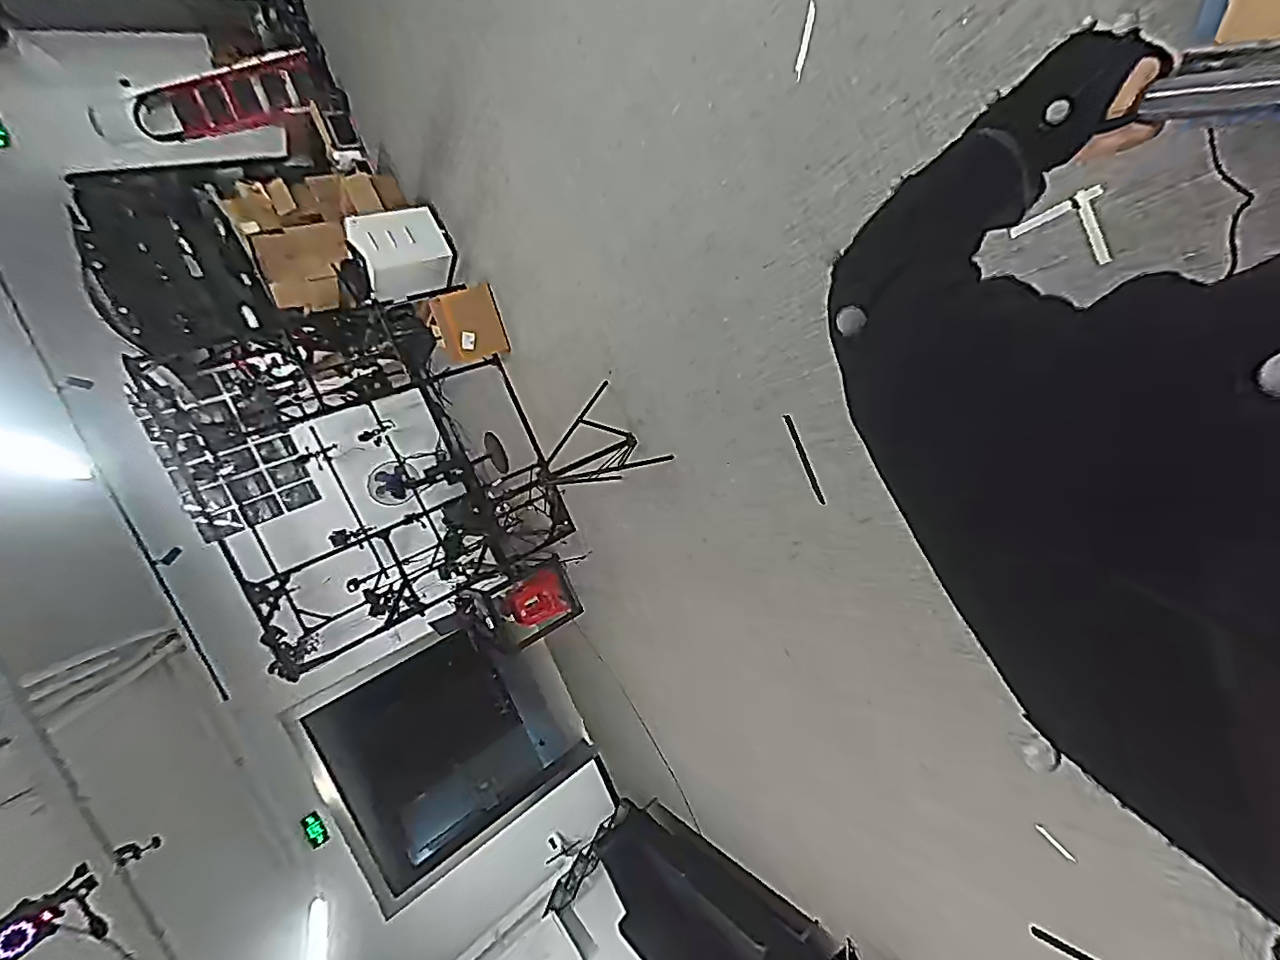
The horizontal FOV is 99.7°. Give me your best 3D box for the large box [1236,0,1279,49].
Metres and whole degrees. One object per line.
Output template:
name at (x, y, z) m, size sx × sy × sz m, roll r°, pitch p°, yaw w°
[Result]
large box at (0.898, -0.613, 0.477) m, size 0.408 × 0.320 × 0.320 m, roll 30°, pitch 137°, yaw 44°
